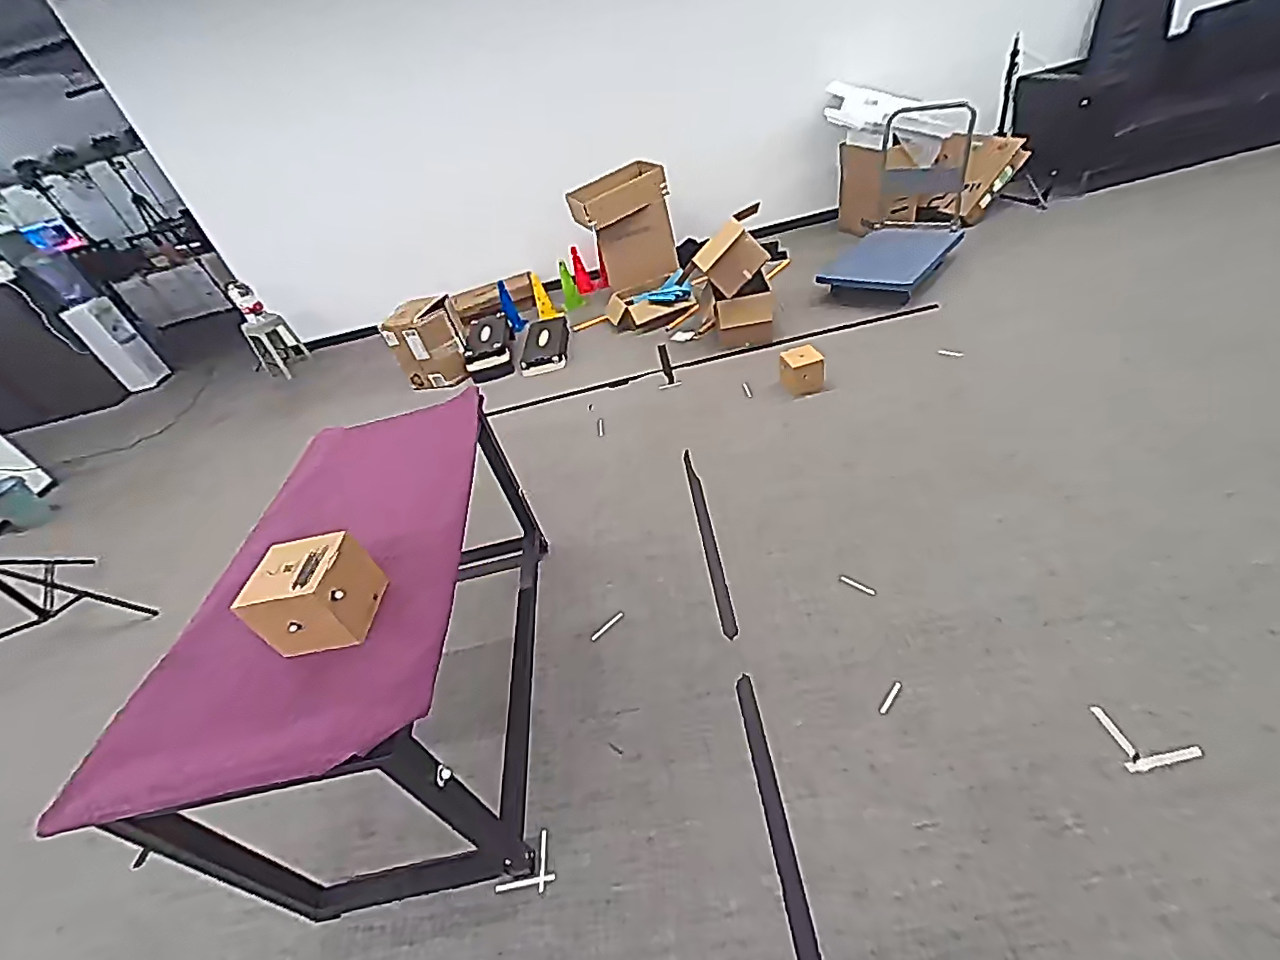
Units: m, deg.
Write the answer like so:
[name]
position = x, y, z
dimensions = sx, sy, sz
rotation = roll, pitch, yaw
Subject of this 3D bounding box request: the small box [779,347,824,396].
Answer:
[small box]
position = 0.823, -0.544, 2.745
dimensions = 0.168, 0.176, 0.179
rotation = -17, 38, -2
